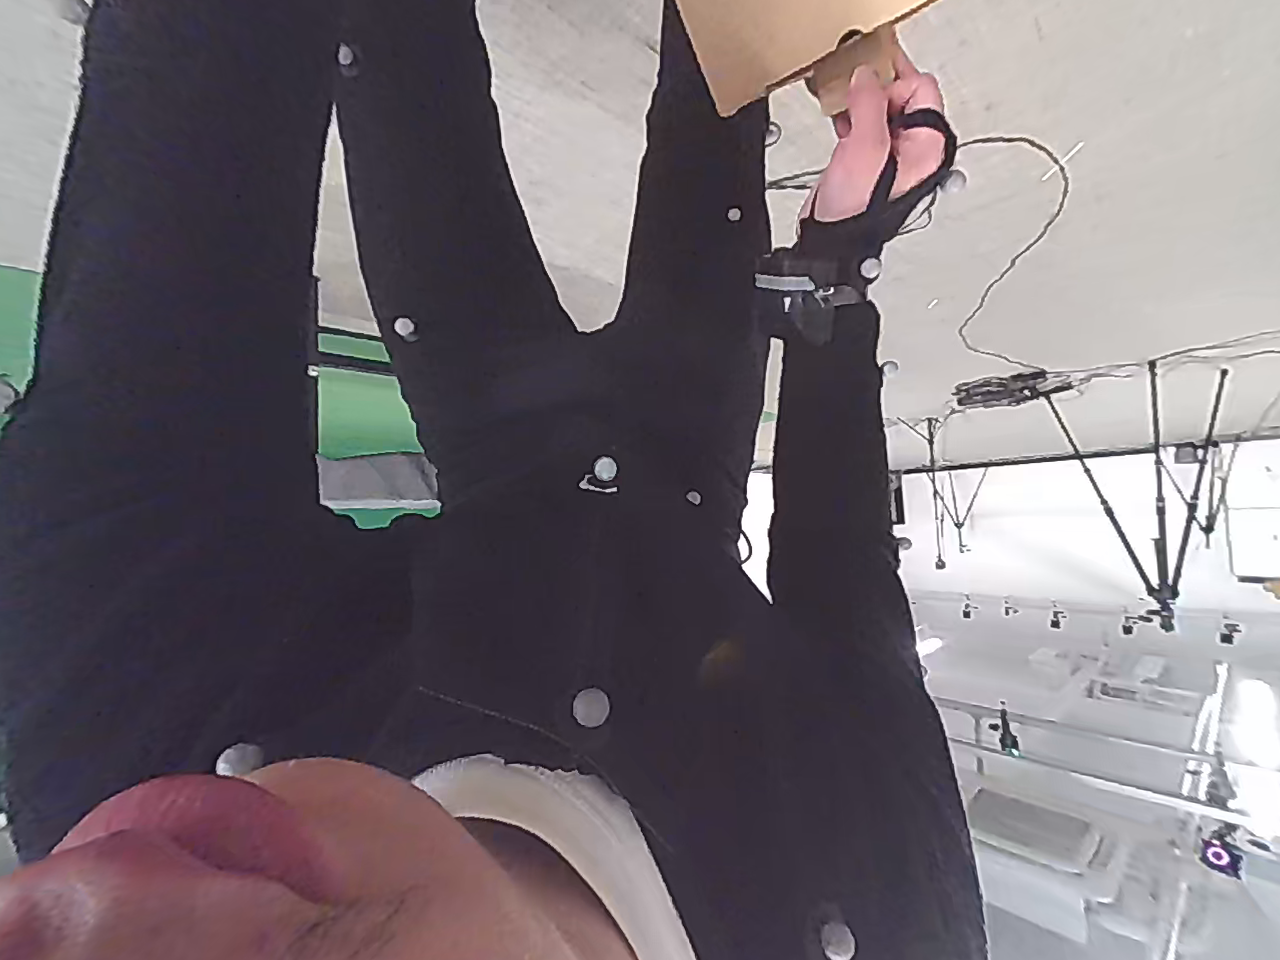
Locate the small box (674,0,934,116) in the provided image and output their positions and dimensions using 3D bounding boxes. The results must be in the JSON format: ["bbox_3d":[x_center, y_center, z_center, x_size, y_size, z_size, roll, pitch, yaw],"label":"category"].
[{"bbox_3d":[0.093,-0.369,0.311,0.168,0.176,0.179,-14,138,30],"label":"small box"}]
